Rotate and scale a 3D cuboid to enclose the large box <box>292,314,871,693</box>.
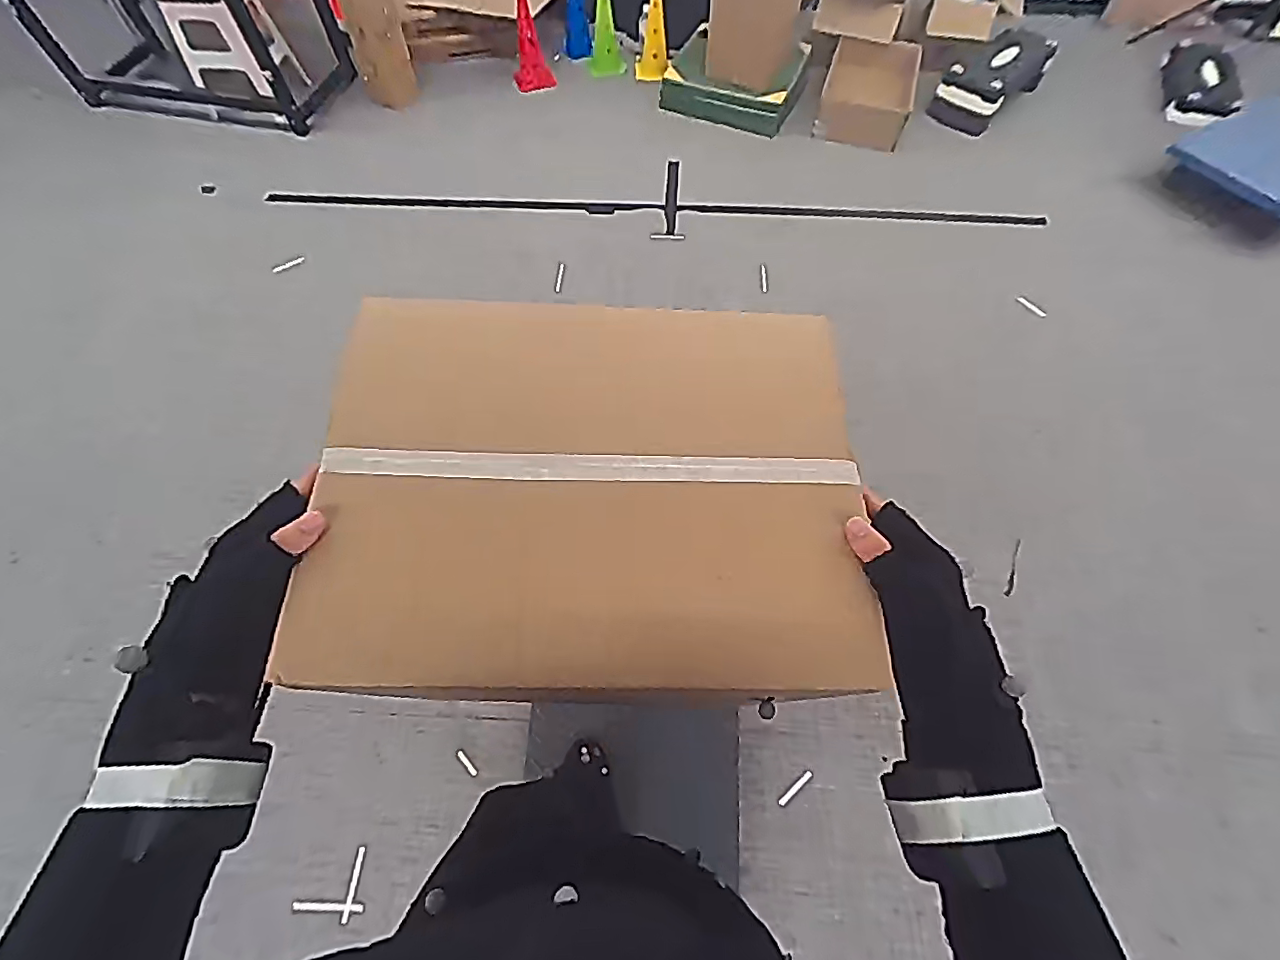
[{"bbox_3d":[-0.041,0.054,0.562,0.408,0.320,0.320,2,66,-2],"label":"large box"}]
